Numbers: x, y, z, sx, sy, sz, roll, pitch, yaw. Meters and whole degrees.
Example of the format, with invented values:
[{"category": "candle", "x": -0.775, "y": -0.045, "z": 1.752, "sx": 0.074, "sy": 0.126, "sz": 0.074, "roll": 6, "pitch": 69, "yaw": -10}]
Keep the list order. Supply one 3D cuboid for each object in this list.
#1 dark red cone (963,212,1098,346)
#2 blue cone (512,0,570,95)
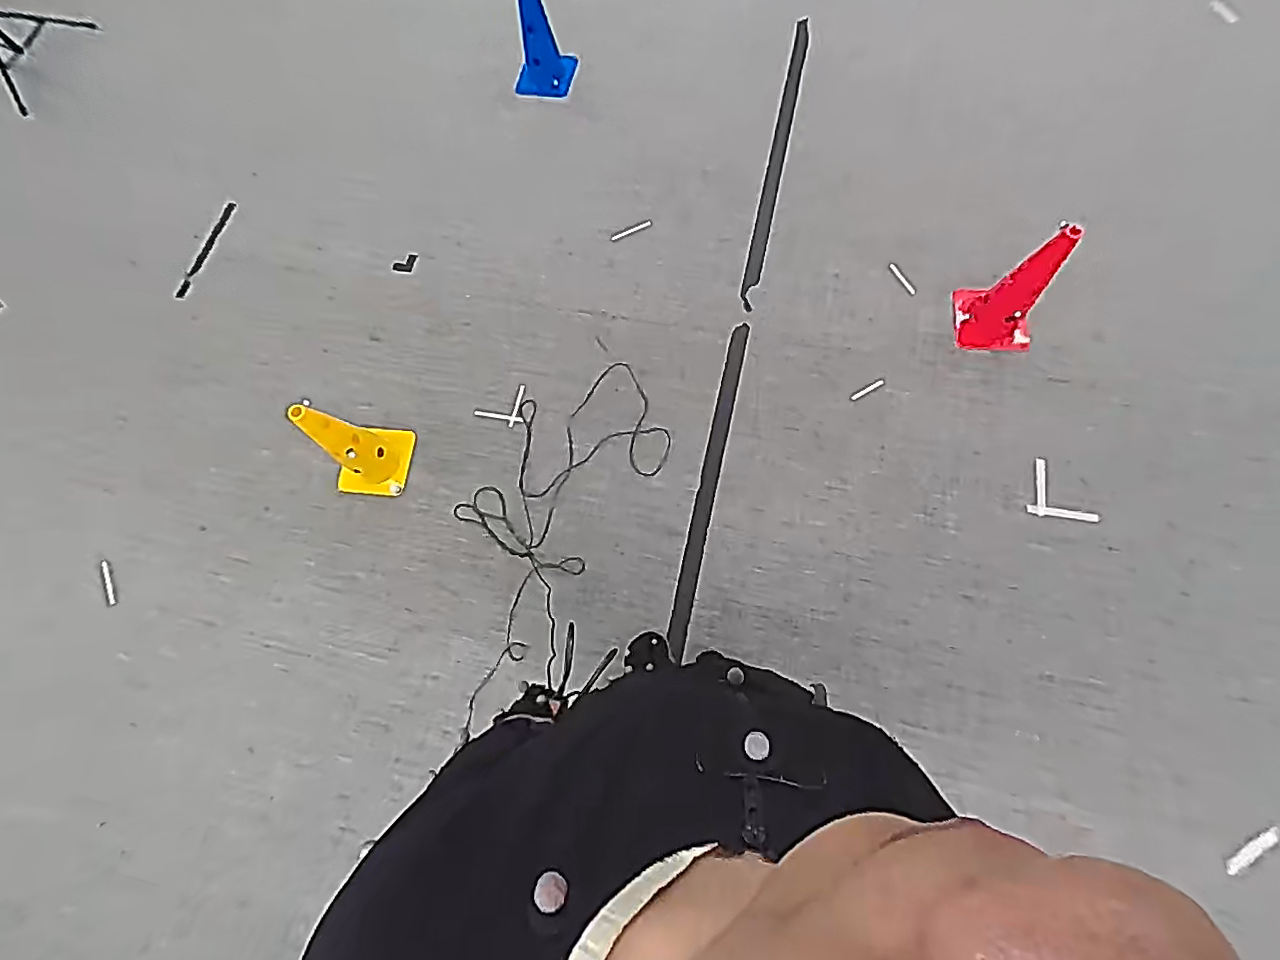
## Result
[{"category": "dark red cone", "x": 1.007, "y": -0.520, "z": 1.373, "sx": 0.201, "sy": 0.394, "sz": 0.202, "roll": 3, "pitch": 73, "yaw": 6}, {"category": "blue cone", "x": -0.370, "y": -1.525, "z": 1.813, "sx": 0.192, "sy": 0.380, "sz": 0.193, "roll": 11, "pitch": 74, "yaw": 9}]
